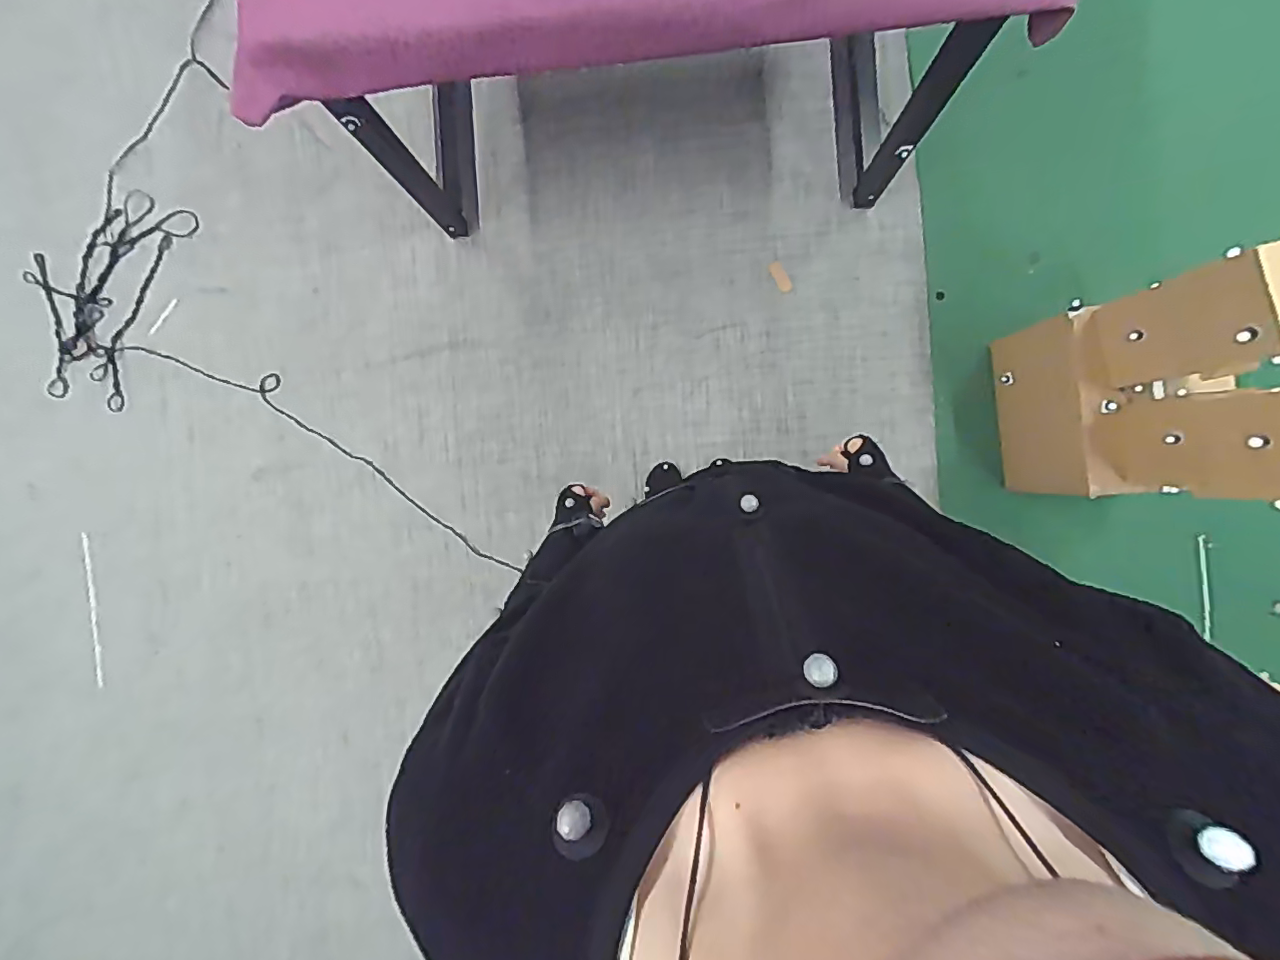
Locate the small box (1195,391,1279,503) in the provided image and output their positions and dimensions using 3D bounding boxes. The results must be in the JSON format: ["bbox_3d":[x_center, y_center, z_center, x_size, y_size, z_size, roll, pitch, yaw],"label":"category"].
[{"bbox_3d":[1.070,-0.053,0.883,0.168,0.176,0.179,-2,89,6],"label":"small box"}]
